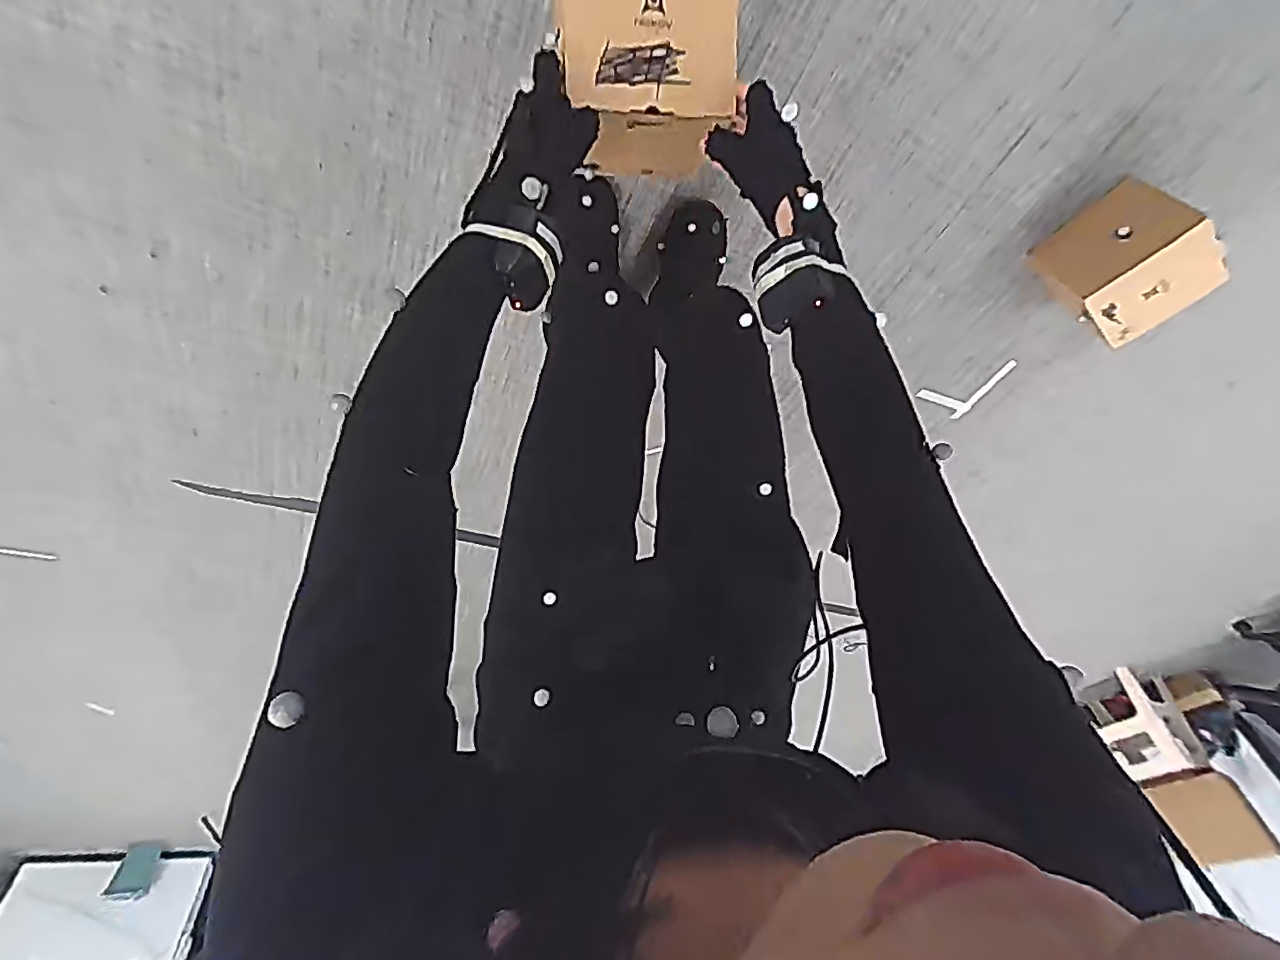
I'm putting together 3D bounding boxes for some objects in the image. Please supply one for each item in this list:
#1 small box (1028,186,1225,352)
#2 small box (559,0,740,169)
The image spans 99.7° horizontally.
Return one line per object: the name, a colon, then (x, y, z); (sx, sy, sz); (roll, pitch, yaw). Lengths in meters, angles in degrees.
small box: (0.830, -0.366, 0.935); (0.168, 0.176, 0.179); (27, 127, -32)
small box: (0.001, -0.453, 0.573); (0.168, 0.176, 0.179); (-2, 101, -10)
